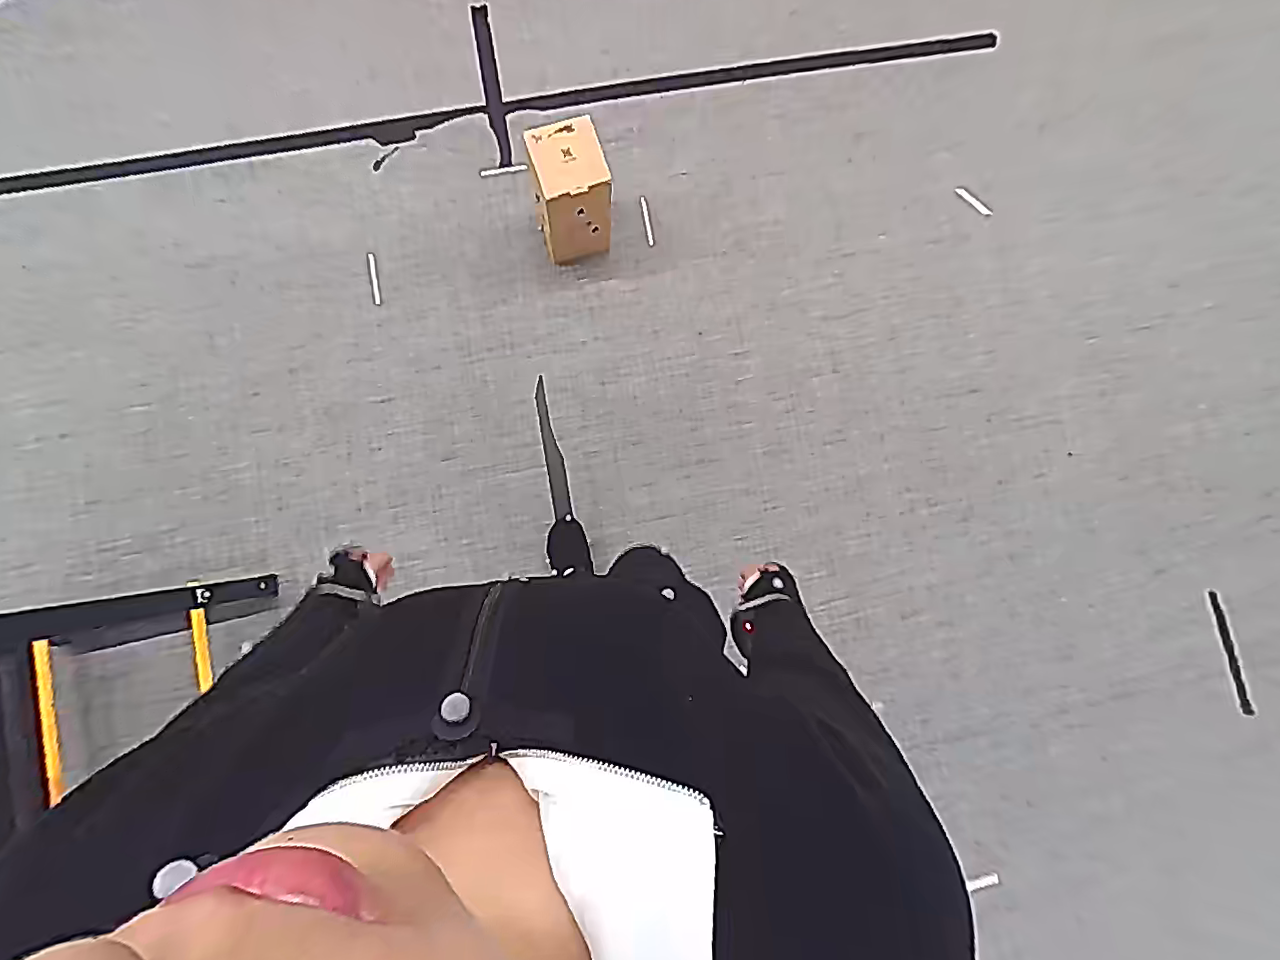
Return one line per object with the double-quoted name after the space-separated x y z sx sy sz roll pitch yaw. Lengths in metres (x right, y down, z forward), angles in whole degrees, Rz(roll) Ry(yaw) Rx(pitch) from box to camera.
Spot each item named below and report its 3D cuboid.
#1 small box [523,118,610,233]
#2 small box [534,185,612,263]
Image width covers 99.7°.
-0.174 -0.740 1.339 0.168 0.176 0.179 -18 87 -5 "small box"
-0.184 -0.734 1.502 0.179 0.176 0.168 -17 86 -5 "small box"
